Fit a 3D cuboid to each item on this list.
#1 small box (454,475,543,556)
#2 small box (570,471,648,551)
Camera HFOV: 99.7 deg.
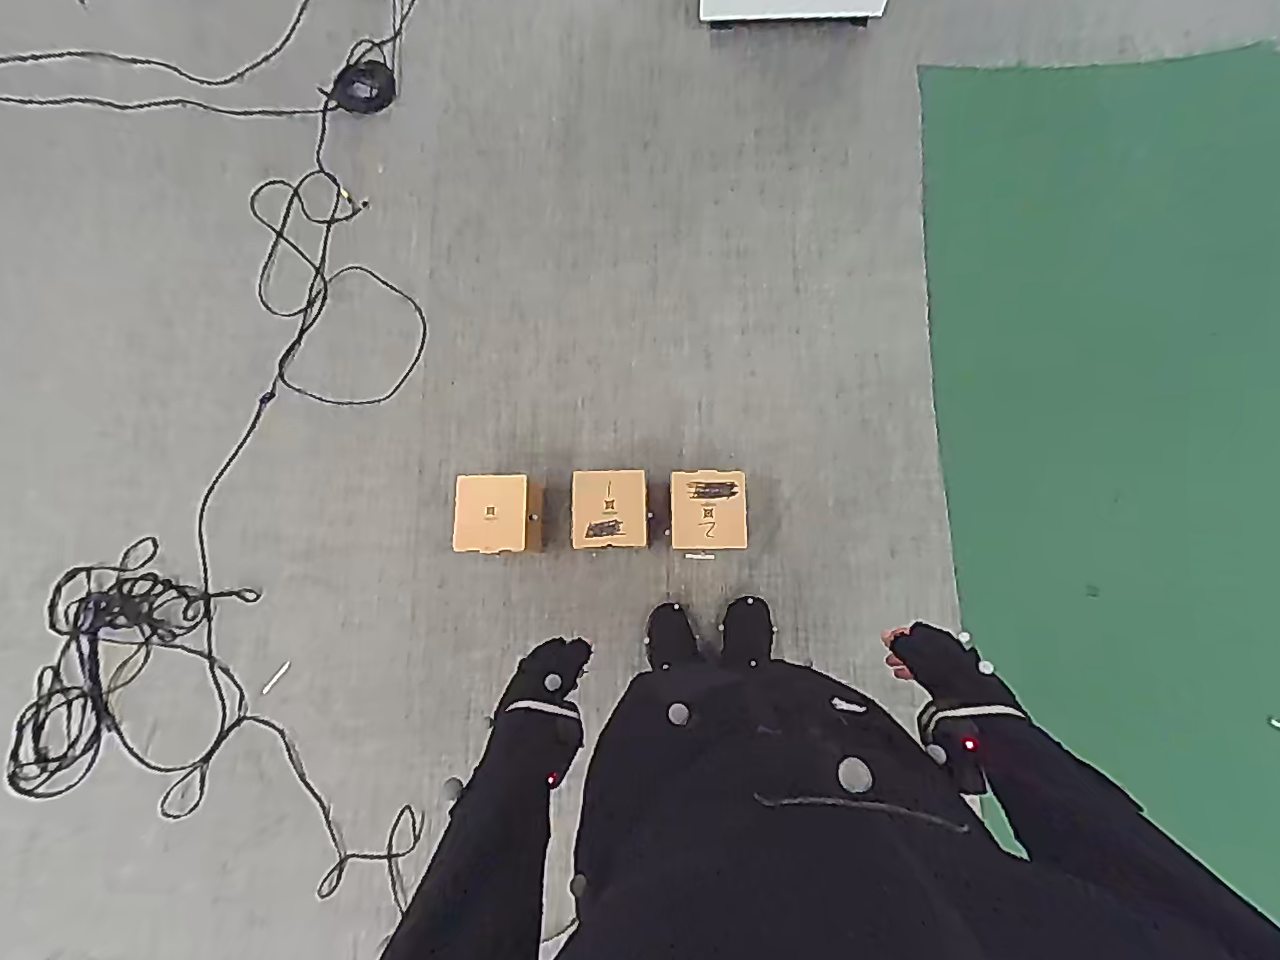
[{"bbox_3d":[-0.335,0.090,1.311,0.168,0.176,0.179,-1,80,3],"label":"small box"},{"bbox_3d":[-0.069,0.081,1.295,0.168,0.176,0.179,-1,79,4],"label":"small box"}]
